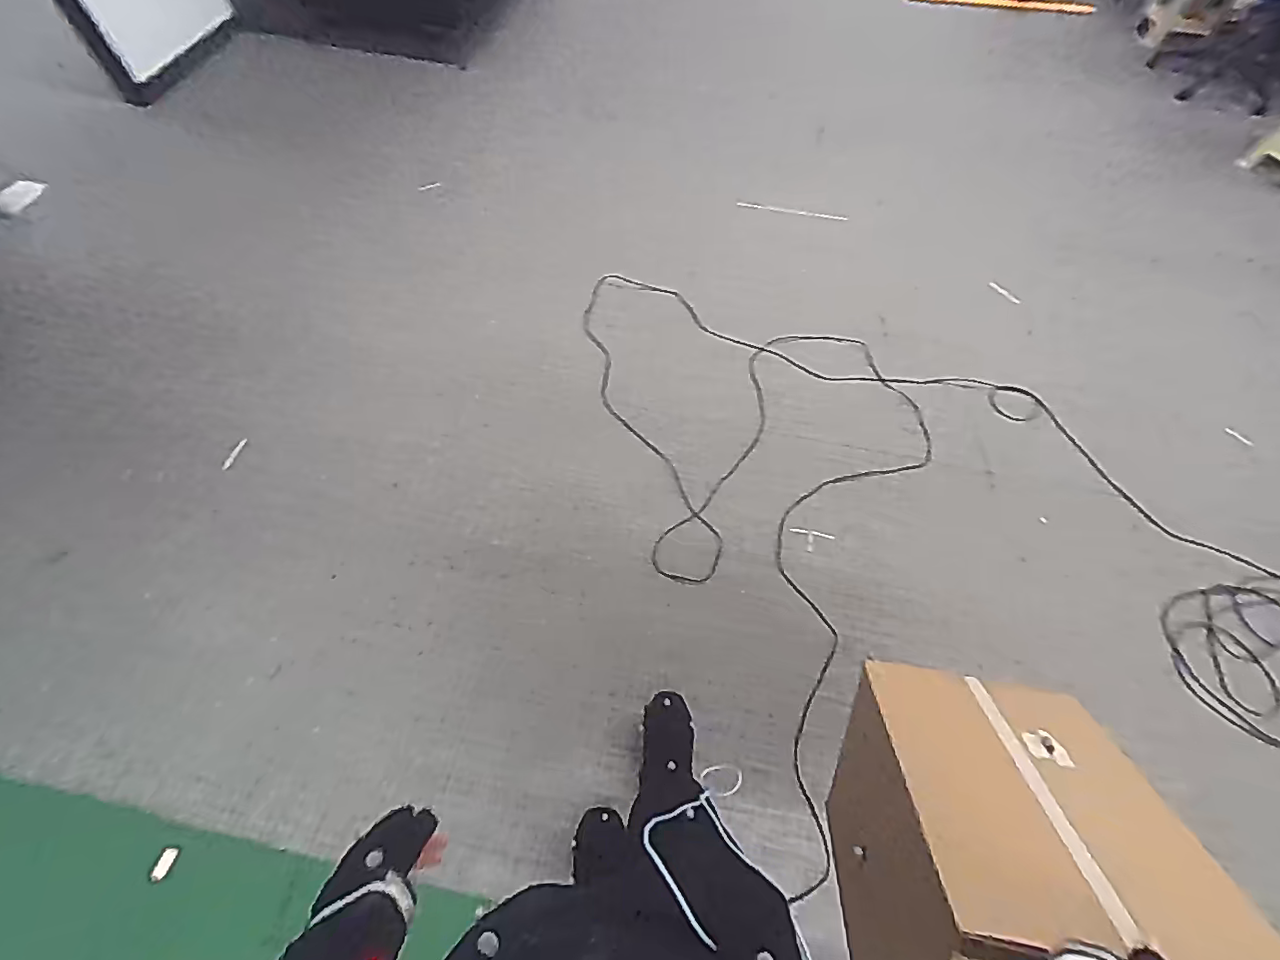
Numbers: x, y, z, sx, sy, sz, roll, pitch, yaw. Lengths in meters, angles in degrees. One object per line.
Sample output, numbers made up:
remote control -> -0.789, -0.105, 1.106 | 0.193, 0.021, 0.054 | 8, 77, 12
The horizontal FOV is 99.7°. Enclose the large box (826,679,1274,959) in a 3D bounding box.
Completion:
large box -> 0.458, 0.536, 0.711 | 0.320, 0.320, 0.408 | 8, 17, 7
